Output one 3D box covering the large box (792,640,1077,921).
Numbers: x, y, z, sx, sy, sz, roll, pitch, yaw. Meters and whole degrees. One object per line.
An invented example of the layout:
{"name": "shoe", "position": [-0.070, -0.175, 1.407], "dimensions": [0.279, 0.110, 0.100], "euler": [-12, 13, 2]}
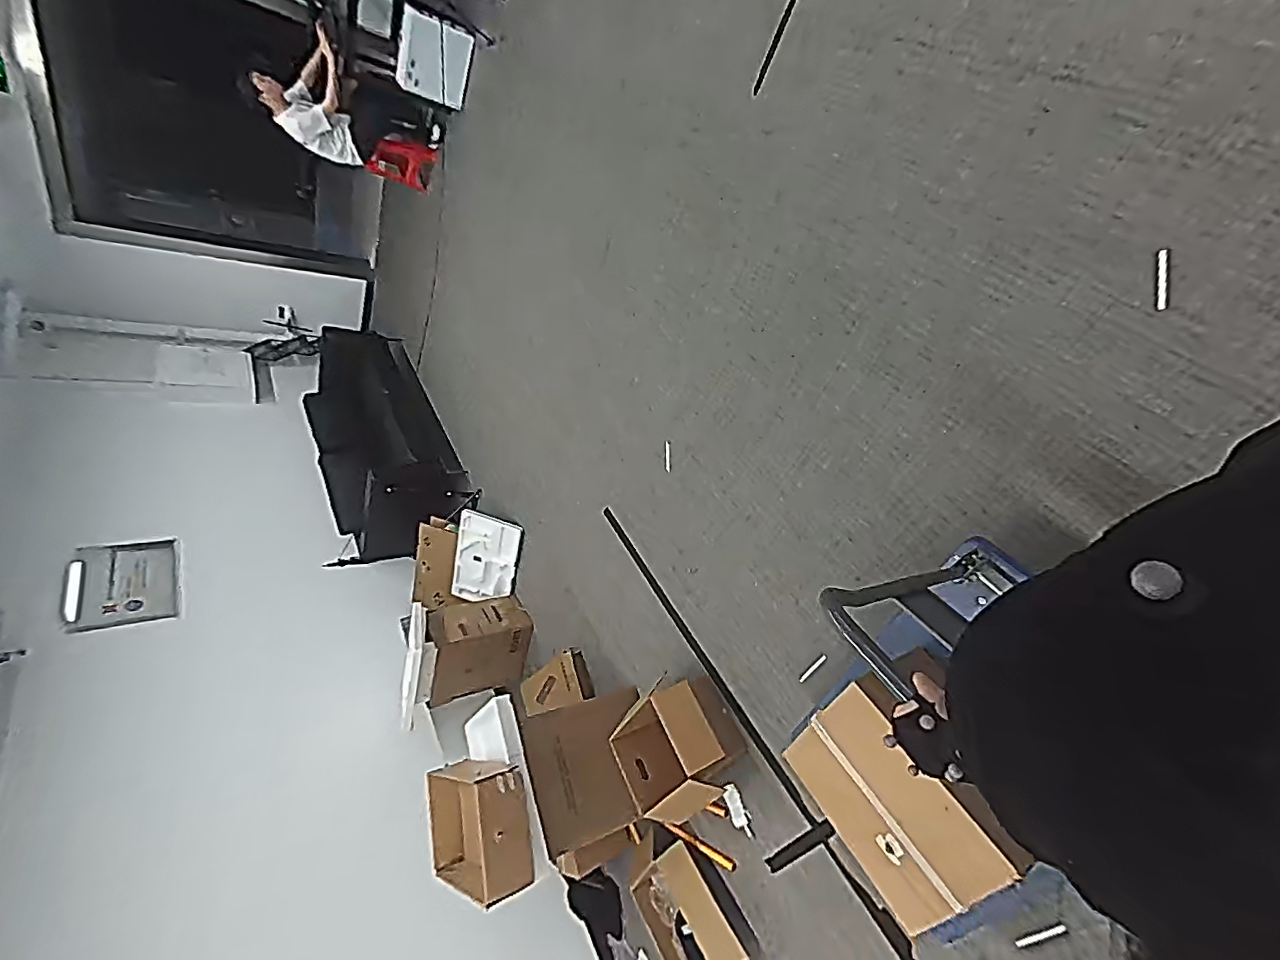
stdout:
{"name": "large box", "position": [0.639, 0.639, 1.216], "dimensions": [0.408, 0.320, 0.320], "euler": [51, 131, 36]}
